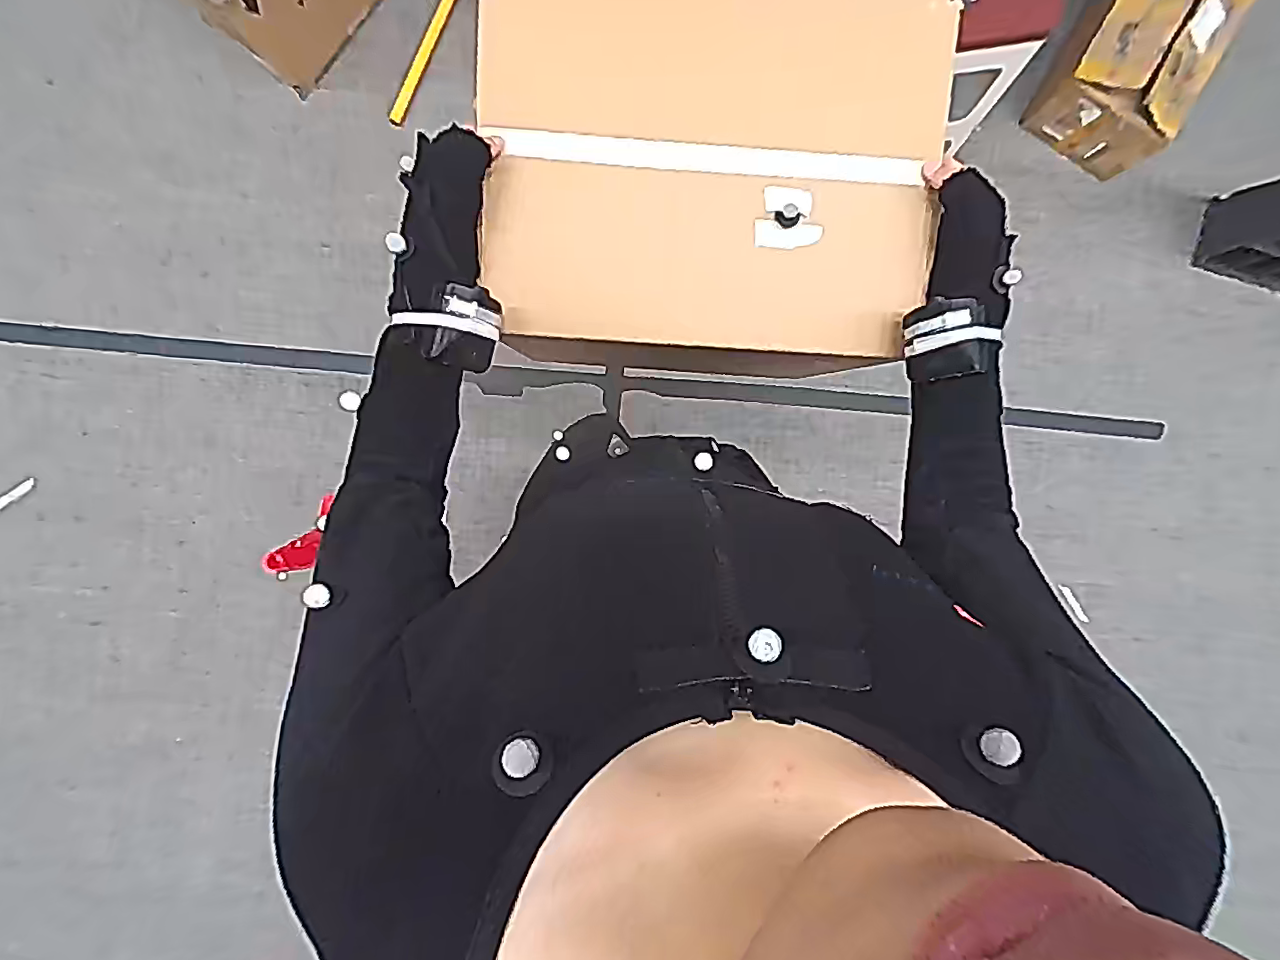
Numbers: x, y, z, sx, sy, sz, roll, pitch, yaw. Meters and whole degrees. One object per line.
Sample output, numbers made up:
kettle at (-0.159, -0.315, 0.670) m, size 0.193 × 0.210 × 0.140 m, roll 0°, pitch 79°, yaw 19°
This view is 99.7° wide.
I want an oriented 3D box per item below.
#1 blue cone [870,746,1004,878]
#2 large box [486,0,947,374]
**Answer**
blue cone at (0.772, 0.867, 1.392) m, size 0.192 × 0.380 × 0.193 m, roll 8°, pitch 92°, yaw -5°
large box at (0.055, -0.297, 0.622) m, size 0.408 × 0.320 × 0.320 m, roll 3°, pitch 97°, yaw -4°
